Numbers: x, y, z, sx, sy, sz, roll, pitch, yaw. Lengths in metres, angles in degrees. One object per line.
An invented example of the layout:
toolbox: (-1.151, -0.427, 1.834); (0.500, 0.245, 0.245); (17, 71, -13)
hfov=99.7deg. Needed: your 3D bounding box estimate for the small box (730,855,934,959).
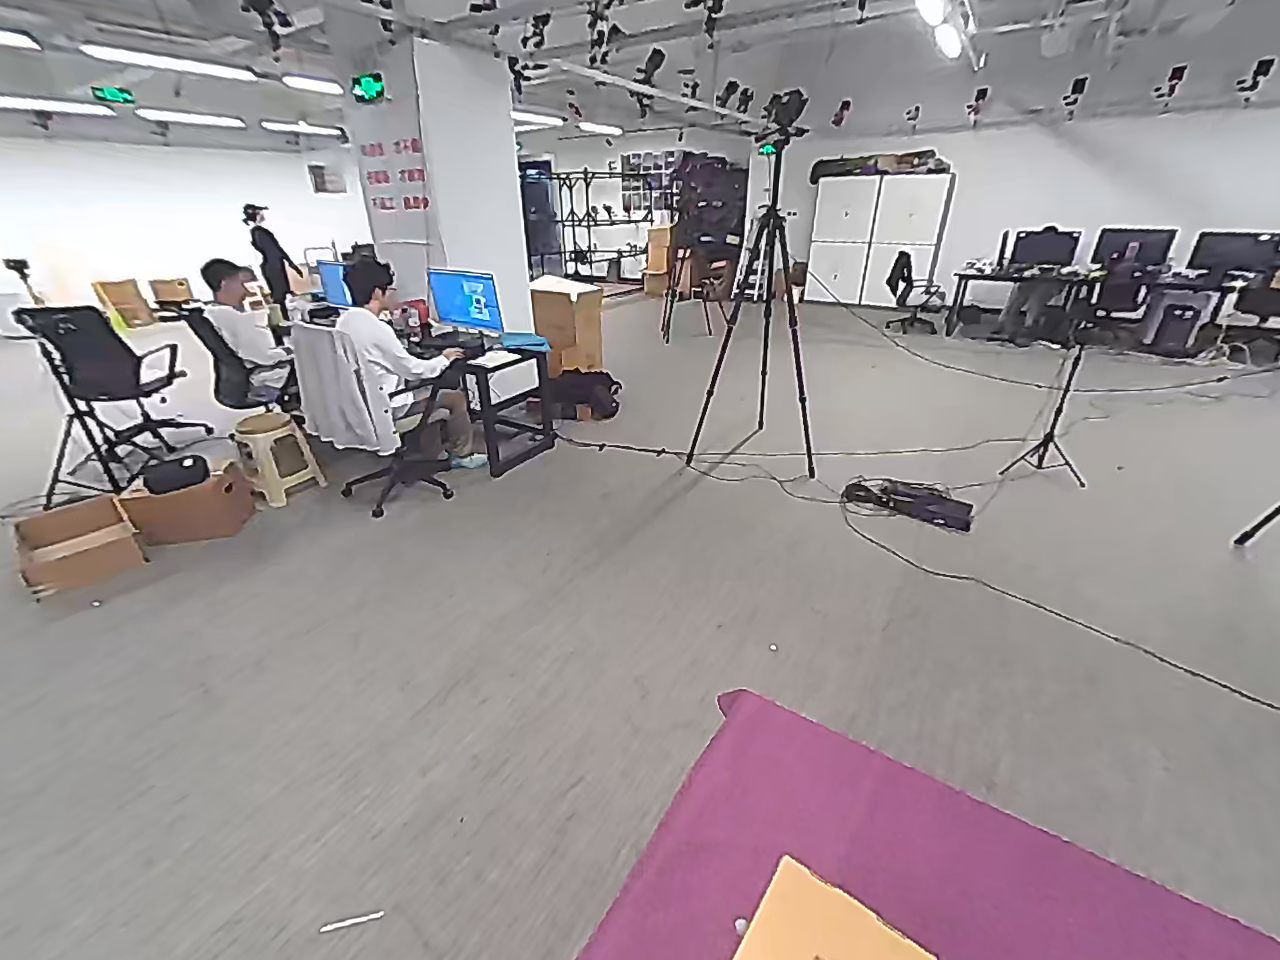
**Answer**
small box: (0.180, 0.557, 0.557); (0.168, 0.176, 0.179); (18, 32, 34)
